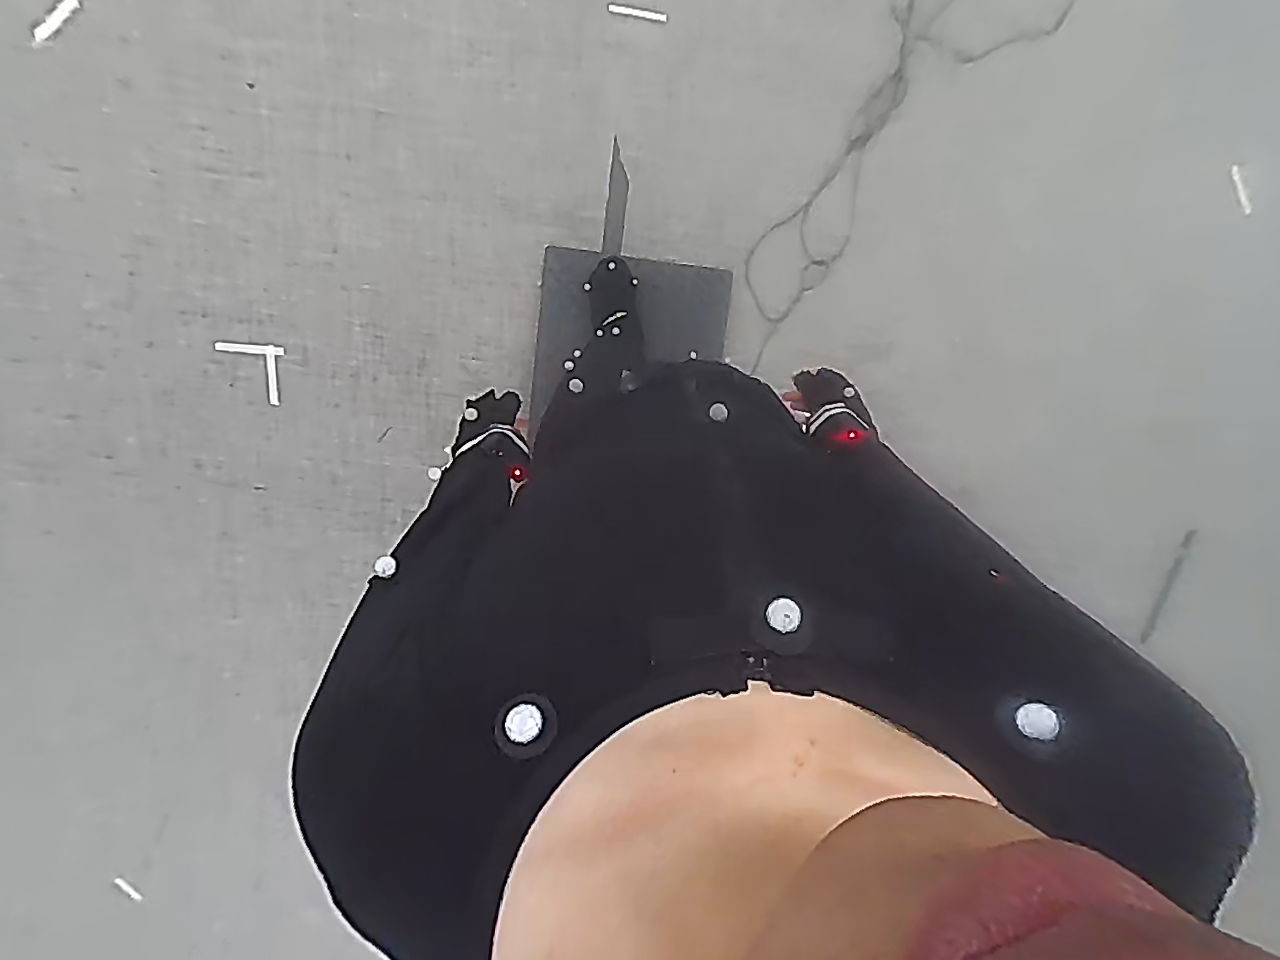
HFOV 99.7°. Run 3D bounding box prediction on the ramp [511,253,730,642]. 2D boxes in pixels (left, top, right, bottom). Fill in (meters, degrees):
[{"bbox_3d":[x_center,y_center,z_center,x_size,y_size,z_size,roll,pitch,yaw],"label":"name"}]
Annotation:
[{"bbox_3d":[-0.059,-0.070,1.444,0.509,0.206,0.991,5,104,-2],"label":"ramp"}]
